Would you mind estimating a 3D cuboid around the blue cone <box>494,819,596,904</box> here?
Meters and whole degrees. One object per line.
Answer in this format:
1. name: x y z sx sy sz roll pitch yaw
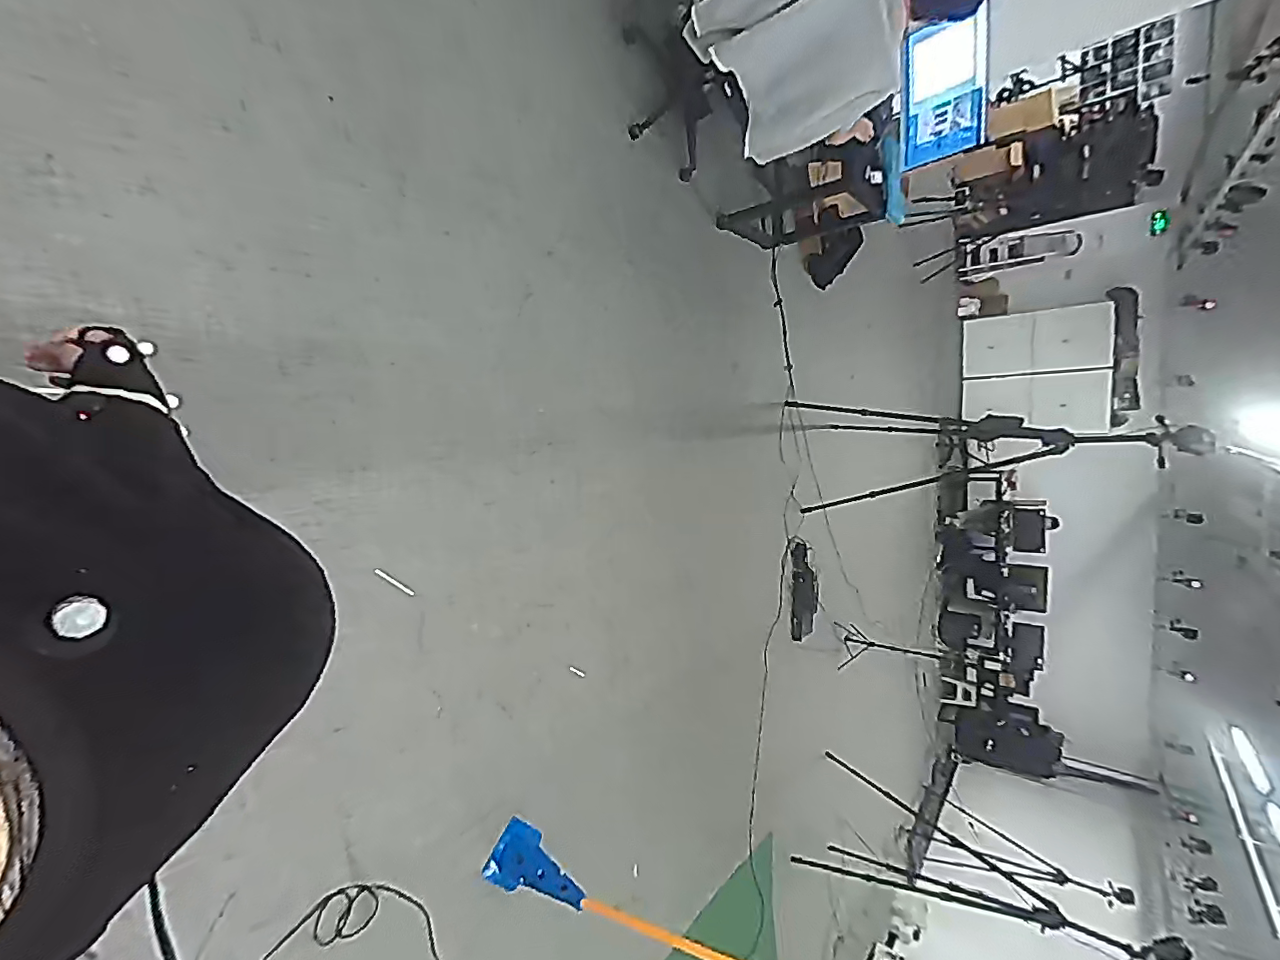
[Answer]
1. blue cone: -0.301 1.332 1.835 0.192 0.380 0.193 56 49 -35
